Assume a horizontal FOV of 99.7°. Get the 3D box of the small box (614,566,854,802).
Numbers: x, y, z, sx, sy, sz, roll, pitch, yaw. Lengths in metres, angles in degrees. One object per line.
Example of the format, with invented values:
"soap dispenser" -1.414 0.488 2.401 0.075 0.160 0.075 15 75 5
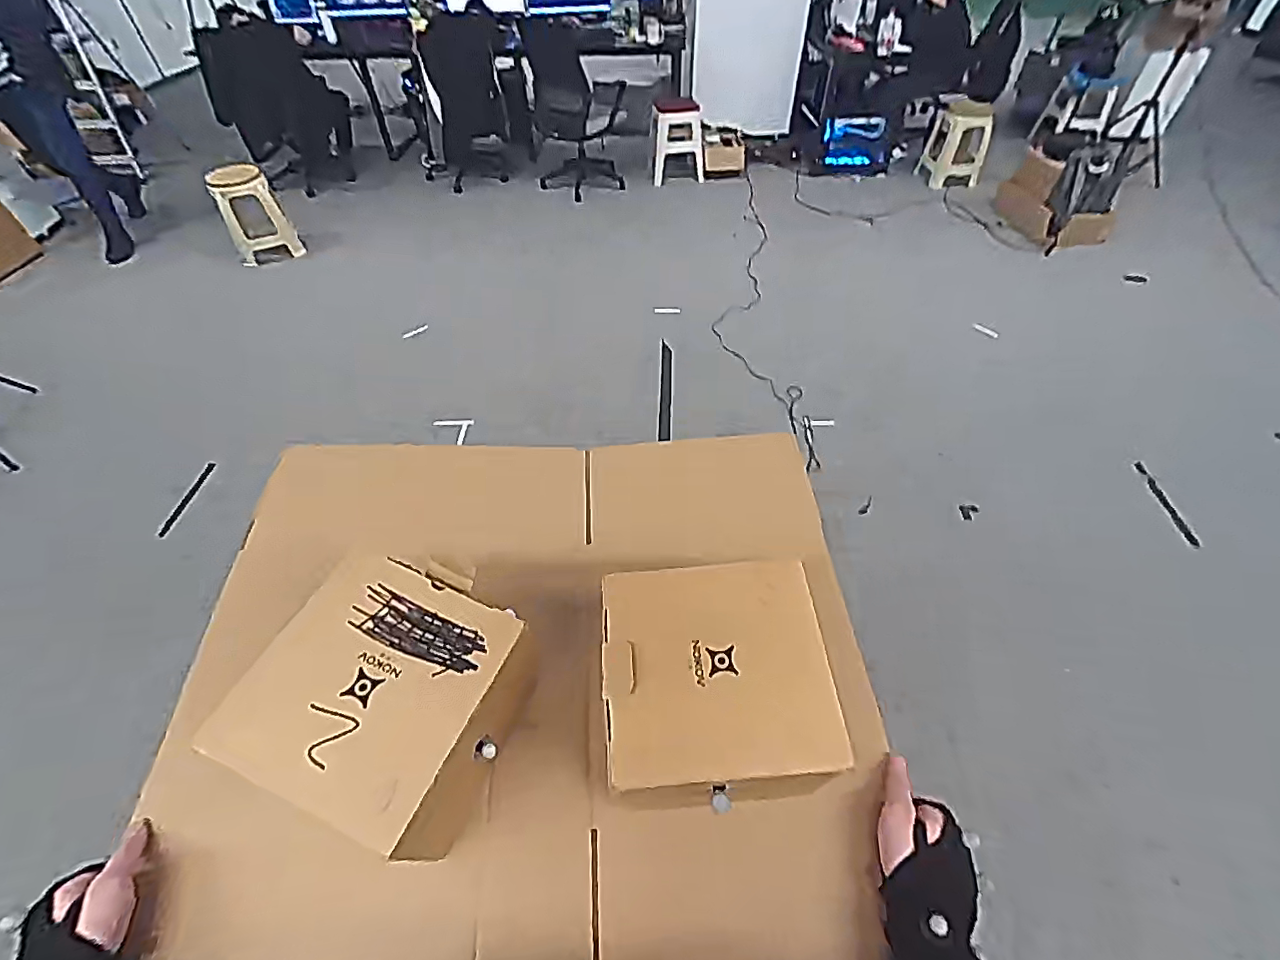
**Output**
"small box" 0.071 0.196 0.506 0.179 0.176 0.168 -5 54 1
